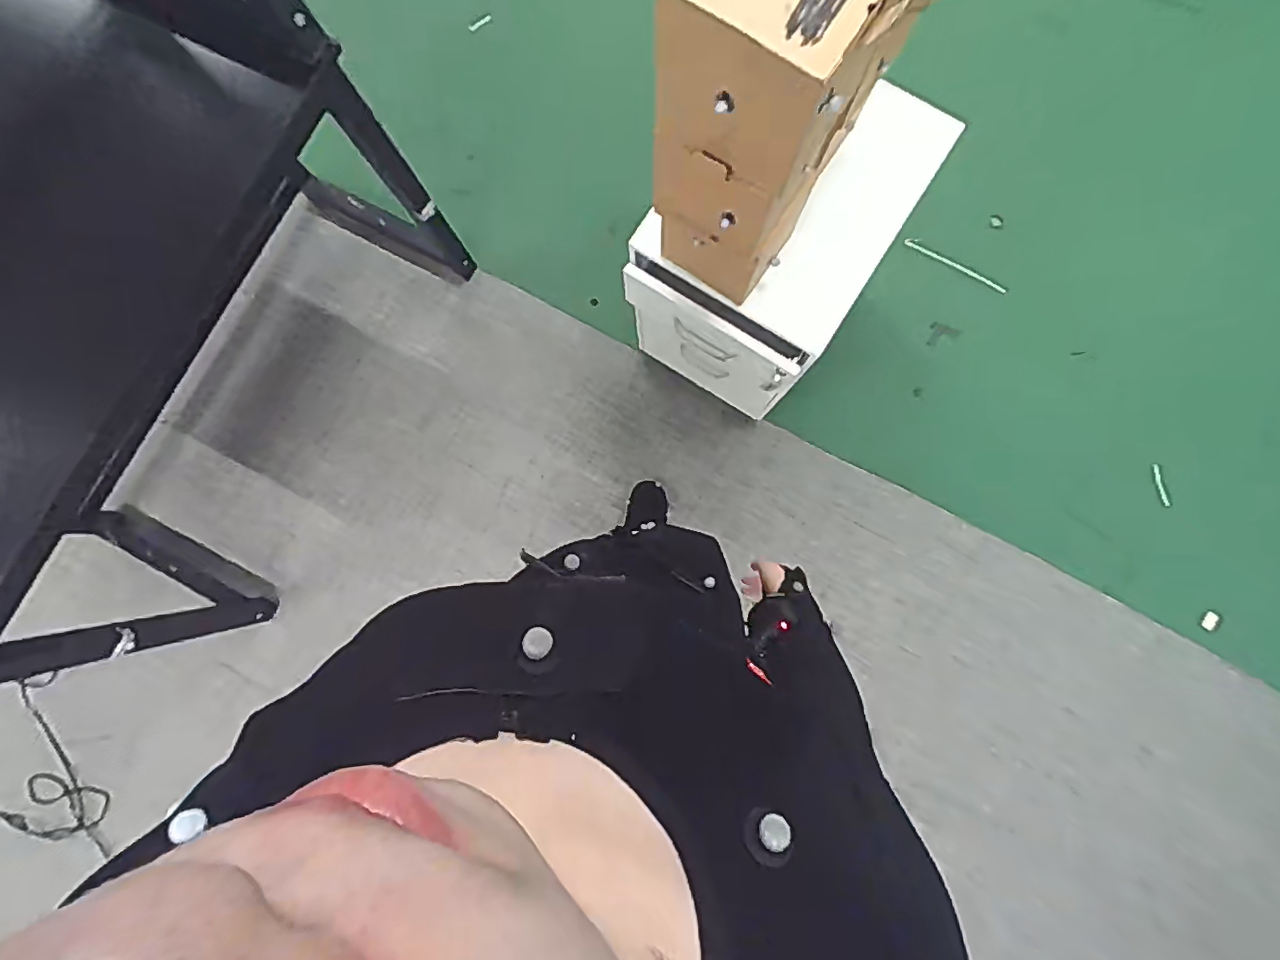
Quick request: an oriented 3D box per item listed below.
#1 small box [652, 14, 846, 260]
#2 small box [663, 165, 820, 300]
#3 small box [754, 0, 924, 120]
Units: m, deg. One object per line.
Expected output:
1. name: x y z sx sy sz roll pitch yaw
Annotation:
1. small box: 0.129 -0.425 0.703 0.168 0.176 0.179 32 85 3
2. small box: 0.148 -0.421 0.865 0.179 0.176 0.168 35 86 4
3. small box: 0.267 -0.635 0.720 0.179 0.176 0.168 36 87 4
